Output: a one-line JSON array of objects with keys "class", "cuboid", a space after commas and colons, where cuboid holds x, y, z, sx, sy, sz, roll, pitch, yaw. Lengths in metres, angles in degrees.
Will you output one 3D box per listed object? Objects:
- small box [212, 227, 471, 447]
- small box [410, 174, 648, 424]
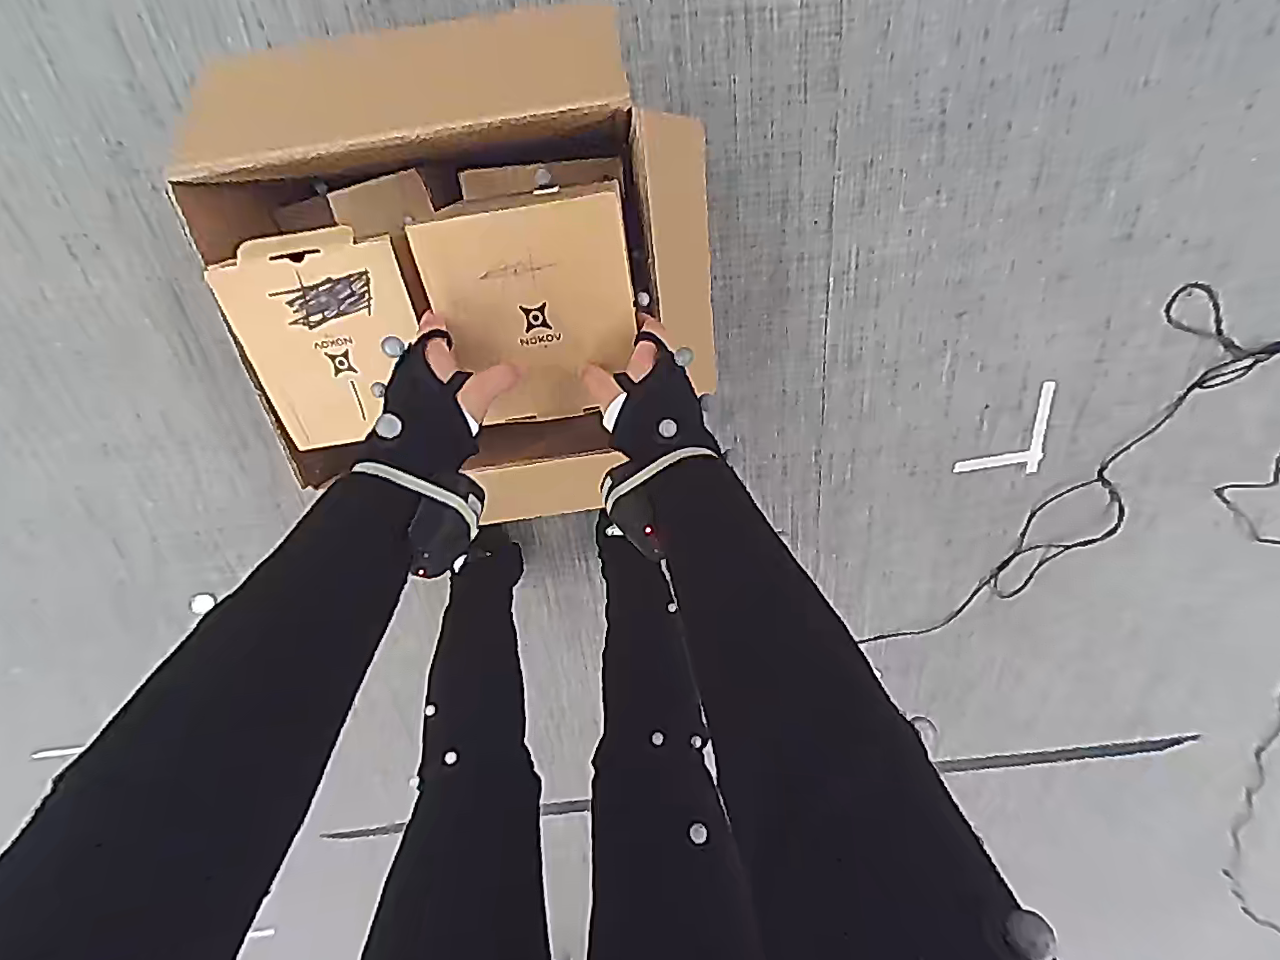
[{"class": "small box", "cuboid": [-0.268, -0.156, 0.555, 0.168, 0.176, 0.179, -8, 120, 4]}, {"class": "small box", "cuboid": [-0.085, -0.177, 0.515, 0.168, 0.176, 0.179, -9, 122, 2]}]
